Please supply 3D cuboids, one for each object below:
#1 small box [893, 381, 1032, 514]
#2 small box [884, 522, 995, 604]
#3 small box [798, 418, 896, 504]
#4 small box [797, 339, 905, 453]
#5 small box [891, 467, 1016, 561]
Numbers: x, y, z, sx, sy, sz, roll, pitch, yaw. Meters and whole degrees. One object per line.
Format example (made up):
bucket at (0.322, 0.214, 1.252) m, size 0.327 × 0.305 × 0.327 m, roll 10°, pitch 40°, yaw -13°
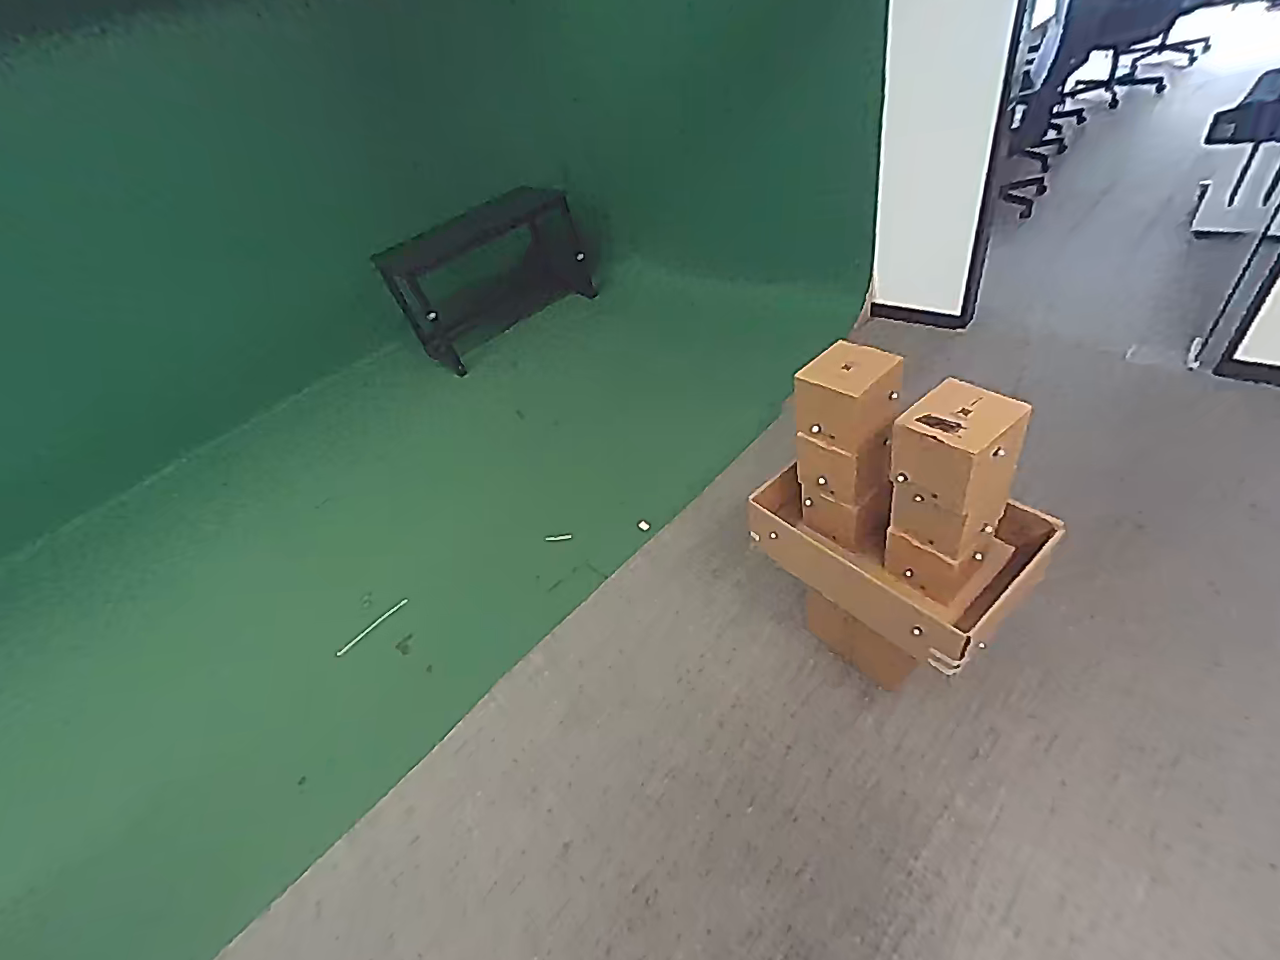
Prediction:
small box at (0.631, -0.063, 1.080) m, size 0.179 × 0.176 × 0.168 m, roll -34°, pitch 46°, yaw -16°
small box at (0.712, 0.162, 1.307) m, size 0.179 × 0.176 × 0.168 m, roll -37°, pitch 46°, yaw -19°
small box at (0.515, -0.074, 1.364) m, size 0.179 × 0.176 × 0.168 m, roll -38°, pitch 47°, yaw -22°
small box at (0.484, -0.196, 1.260) m, size 0.179 × 0.176 × 0.168 m, roll -37°, pitch 46°, yaw -21°
small box at (0.682, 0.042, 1.199) m, size 0.179 × 0.176 × 0.168 m, roll -35°, pitch 45°, yaw -18°
